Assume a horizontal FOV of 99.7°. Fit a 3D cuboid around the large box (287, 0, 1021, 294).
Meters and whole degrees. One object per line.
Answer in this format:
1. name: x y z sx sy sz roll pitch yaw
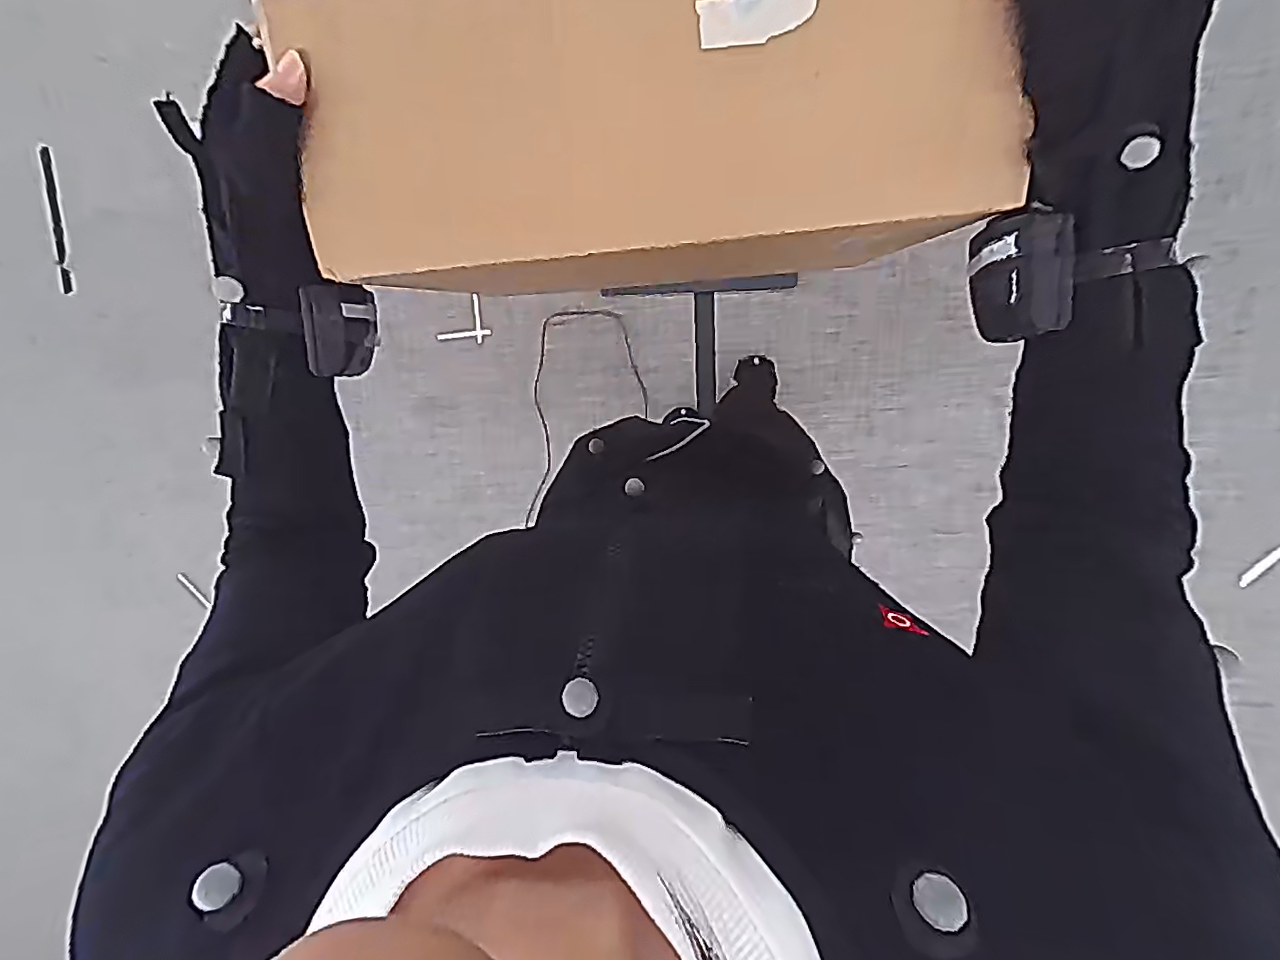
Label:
1. large box: 0.008 -0.335 0.425 0.408 0.320 0.320 -3 107 8
